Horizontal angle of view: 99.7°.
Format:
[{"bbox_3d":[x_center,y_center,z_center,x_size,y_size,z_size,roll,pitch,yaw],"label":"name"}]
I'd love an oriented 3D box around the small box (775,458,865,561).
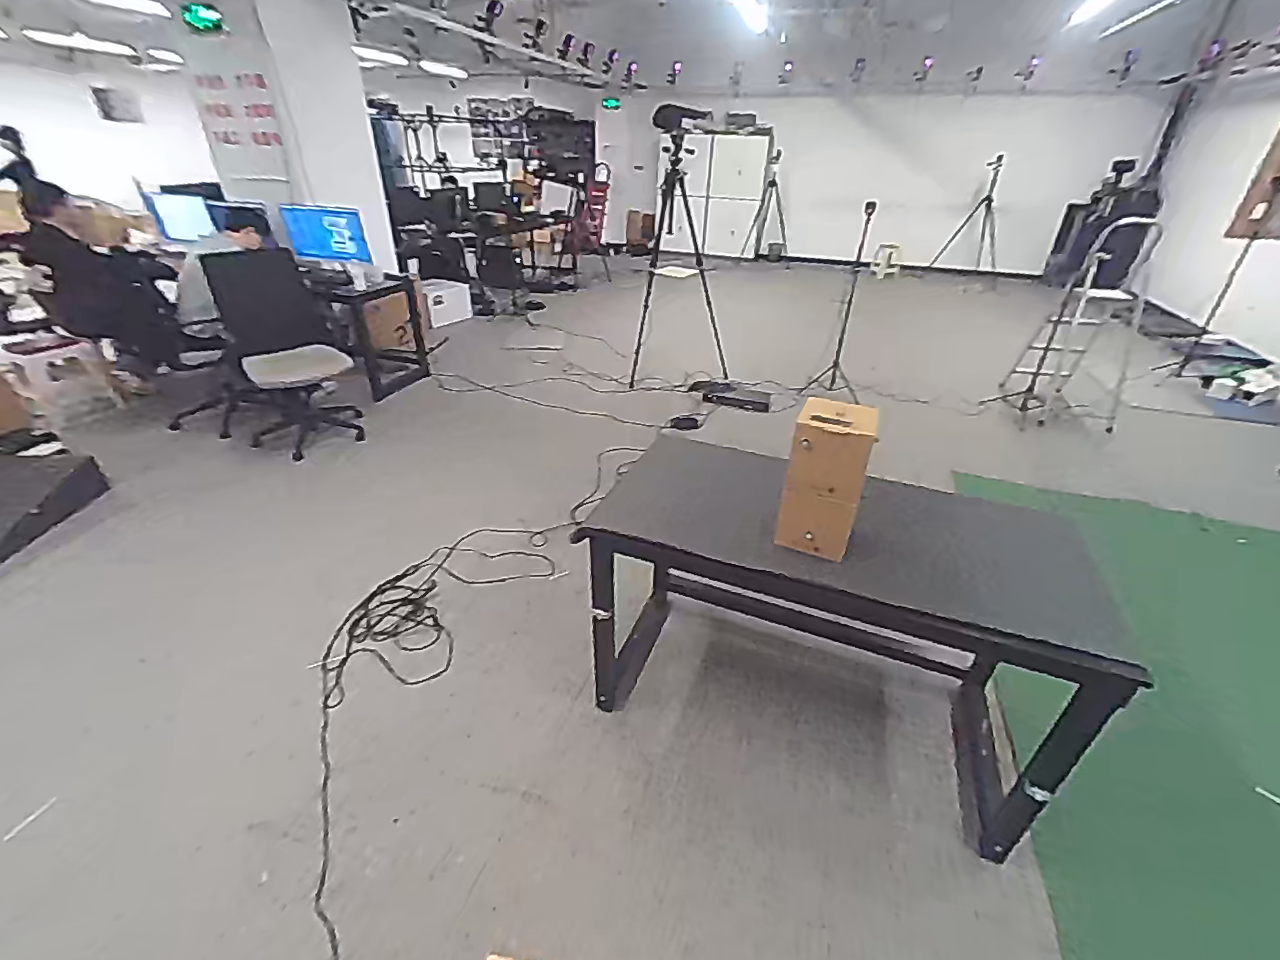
[{"bbox_3d":[0.443,0.070,1.340,0.168,0.176,0.179,15,33,22],"label":"small box"}]
